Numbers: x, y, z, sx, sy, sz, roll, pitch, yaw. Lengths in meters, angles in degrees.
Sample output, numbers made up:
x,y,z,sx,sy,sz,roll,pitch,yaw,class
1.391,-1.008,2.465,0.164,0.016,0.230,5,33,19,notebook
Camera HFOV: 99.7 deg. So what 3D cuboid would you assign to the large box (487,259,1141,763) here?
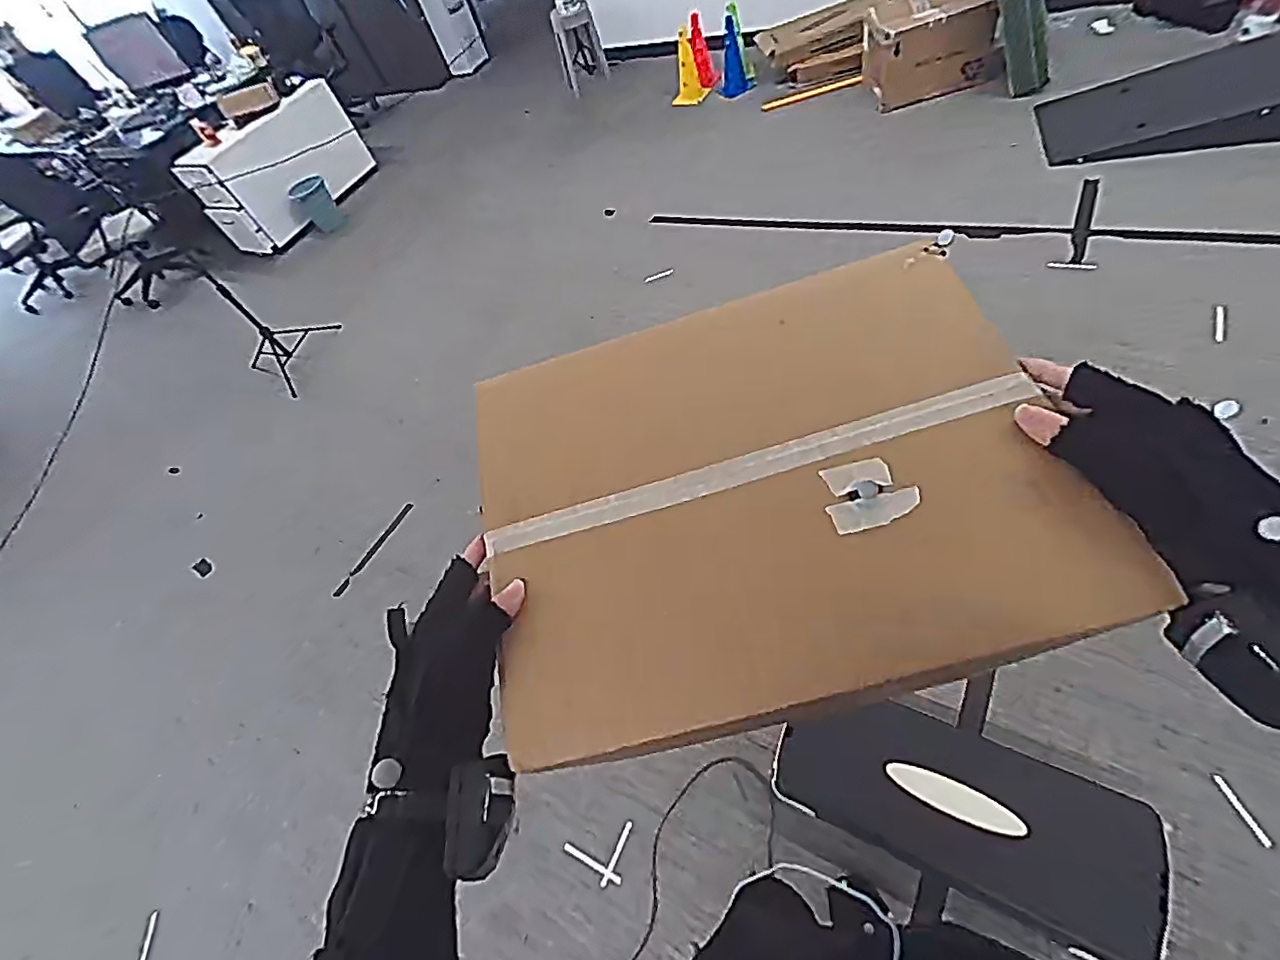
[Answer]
x,y,z,sx,sy,sz,roll,pitch,yaw,class
0.110,0.061,0.538,0.408,0.320,0.320,-17,63,4,large box
